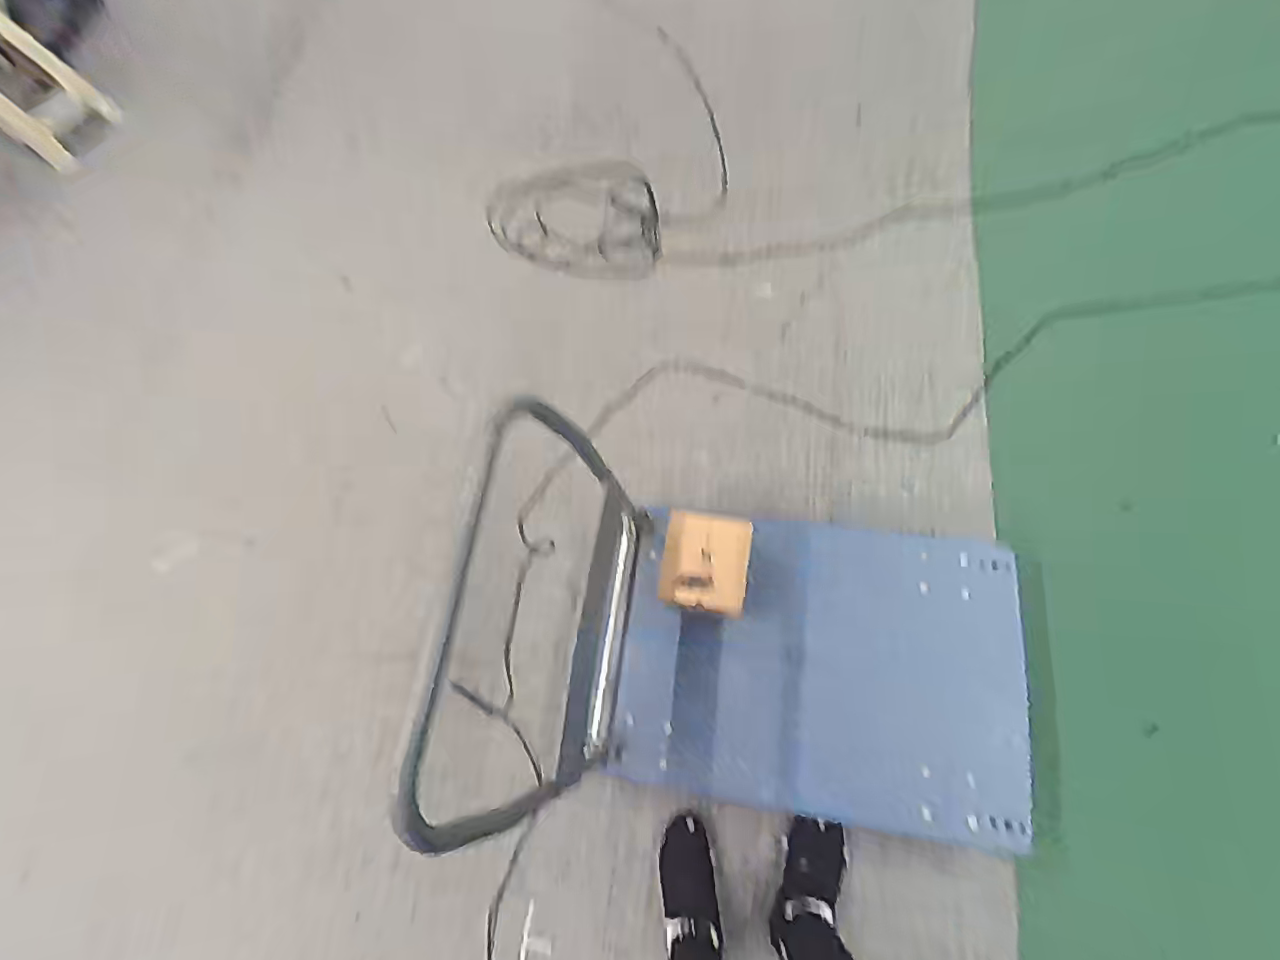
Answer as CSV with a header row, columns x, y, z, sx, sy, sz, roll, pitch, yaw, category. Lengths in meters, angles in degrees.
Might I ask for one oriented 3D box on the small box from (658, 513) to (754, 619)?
x,y,z,sx,sy,sz,roll,pitch,yaw,category
0.140,0.185,1.122,0.168,0.176,0.179,8,72,10,small box
